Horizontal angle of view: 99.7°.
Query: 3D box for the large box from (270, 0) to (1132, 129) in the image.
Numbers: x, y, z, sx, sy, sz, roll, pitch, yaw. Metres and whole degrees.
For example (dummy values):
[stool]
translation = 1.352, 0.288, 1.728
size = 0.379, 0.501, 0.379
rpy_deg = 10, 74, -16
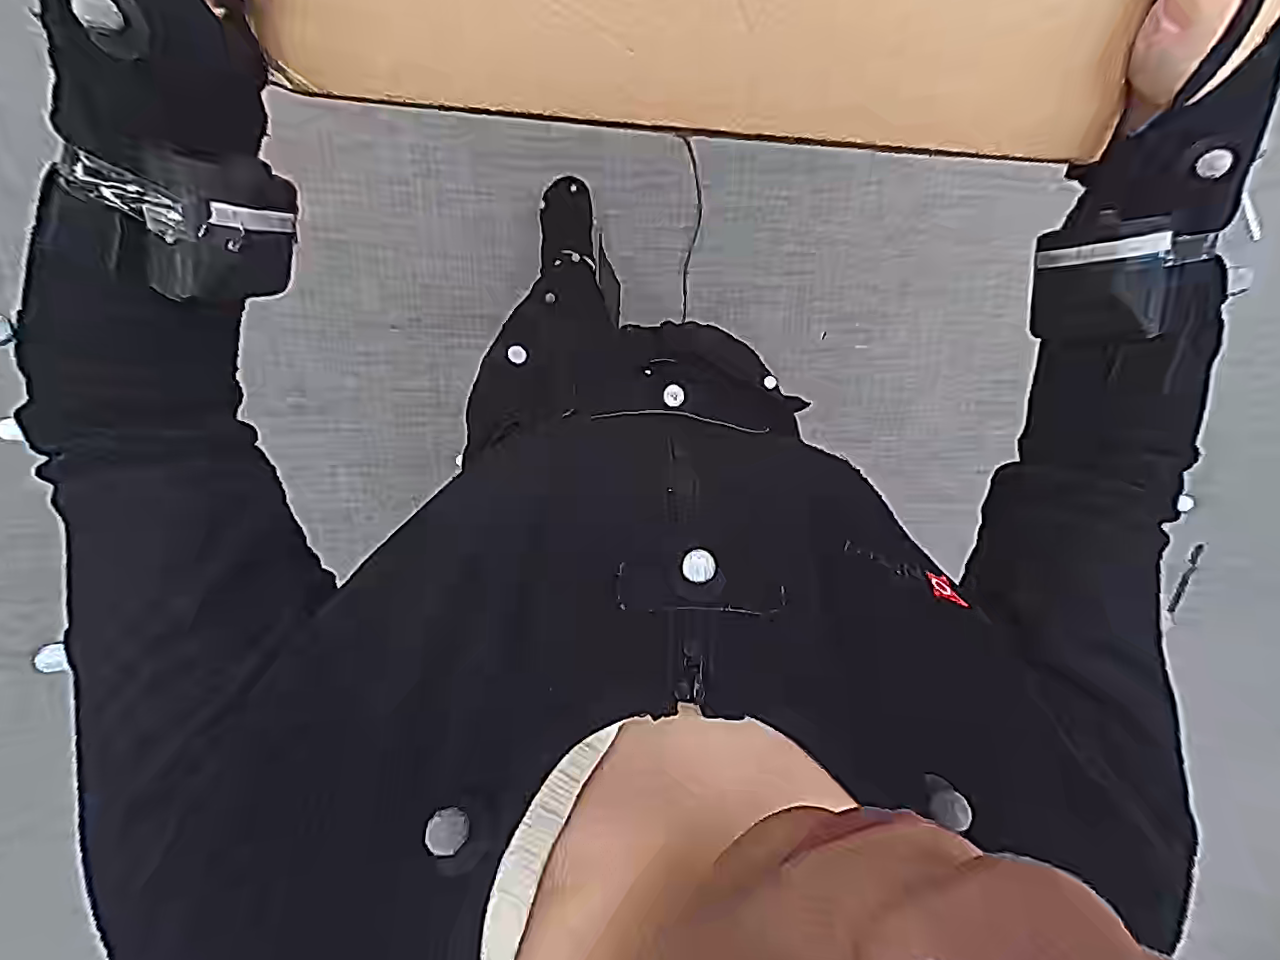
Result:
[large box]
translation = 0.030, -0.396, 0.306
size = 0.408, 0.320, 0.320
rpy_deg = 1, 124, -7
